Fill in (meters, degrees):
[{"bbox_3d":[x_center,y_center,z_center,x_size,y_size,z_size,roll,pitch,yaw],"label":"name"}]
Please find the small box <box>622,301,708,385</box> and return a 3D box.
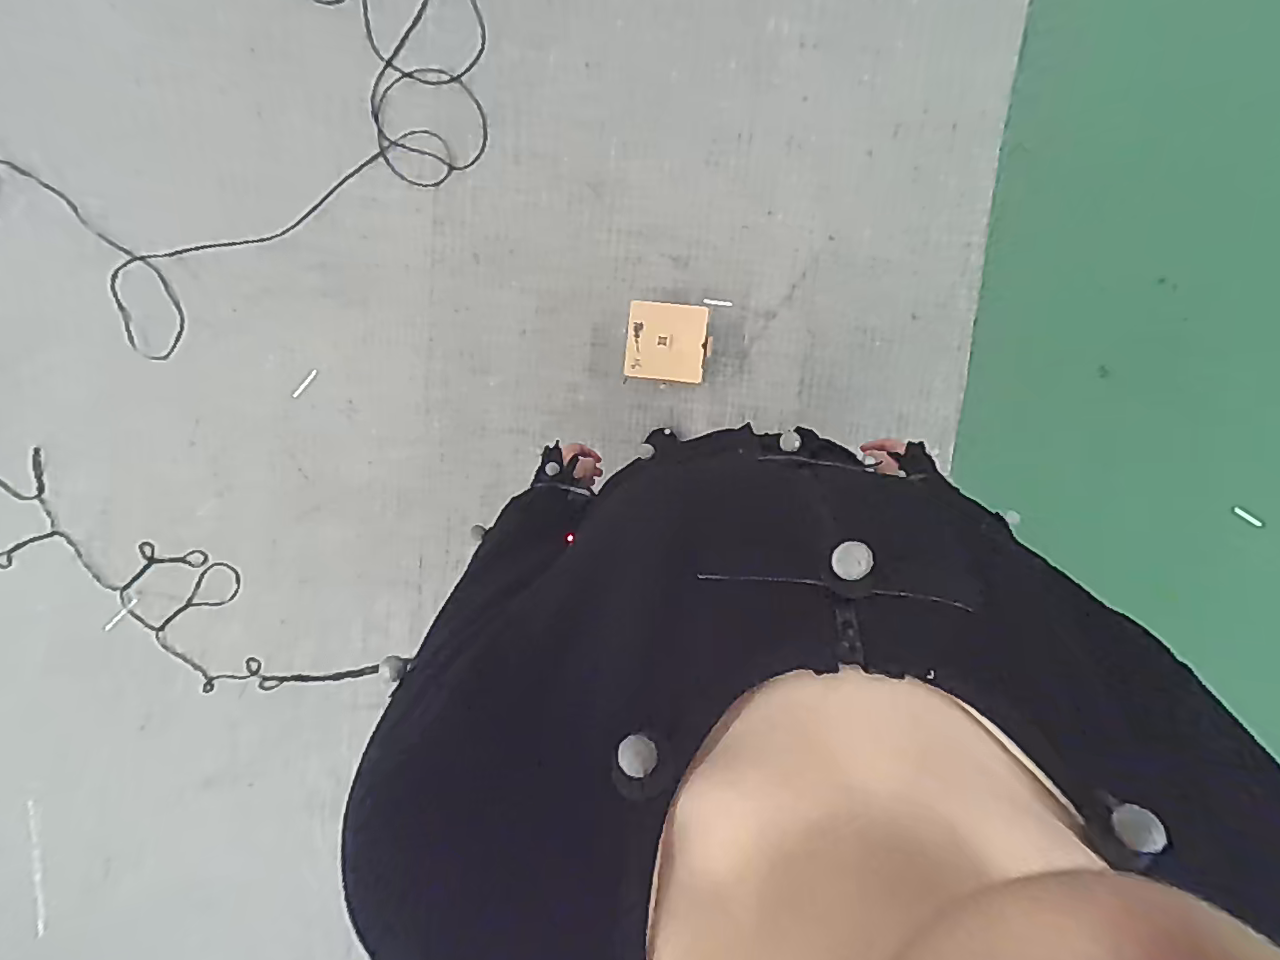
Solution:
[{"bbox_3d":[0.059,-0.312,1.264,0.179,0.176,0.168,6,98,3],"label":"small box"}]
